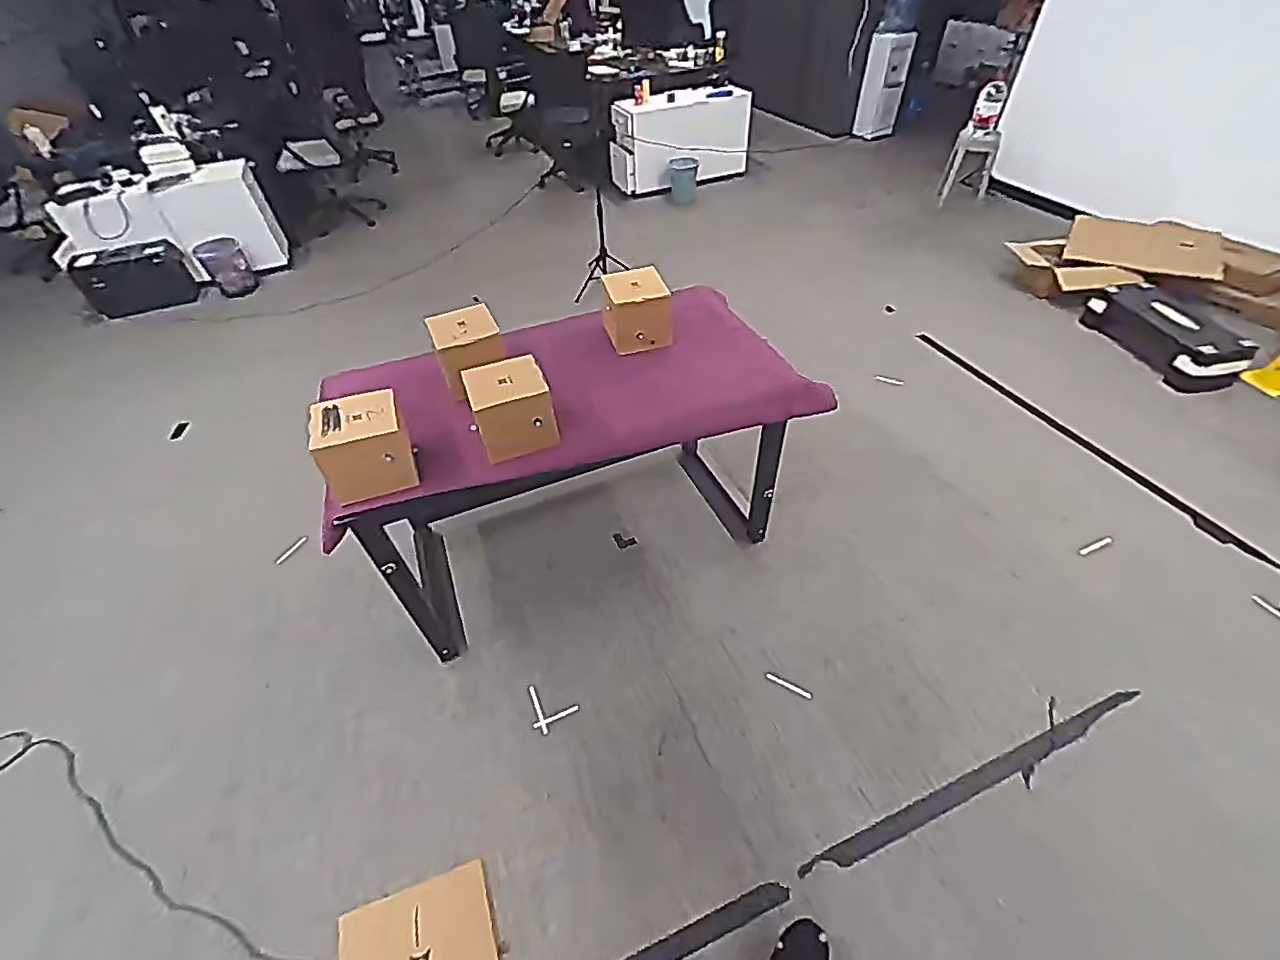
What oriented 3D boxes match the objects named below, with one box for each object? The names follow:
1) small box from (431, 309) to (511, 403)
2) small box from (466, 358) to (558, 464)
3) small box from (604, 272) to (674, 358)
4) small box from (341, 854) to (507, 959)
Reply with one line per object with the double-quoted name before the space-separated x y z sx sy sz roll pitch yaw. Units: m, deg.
"small box" -0.455 -0.340 1.483 0.168 0.176 0.179 -21 49 -16
"small box" -0.302 -0.165 1.303 0.179 0.176 0.168 -17 47 -14
"small box" -0.004 -0.486 1.598 0.168 0.176 0.179 -14 48 -9
"small box" -0.258 0.603 0.674 0.168 0.176 0.179 -11 54 -21
